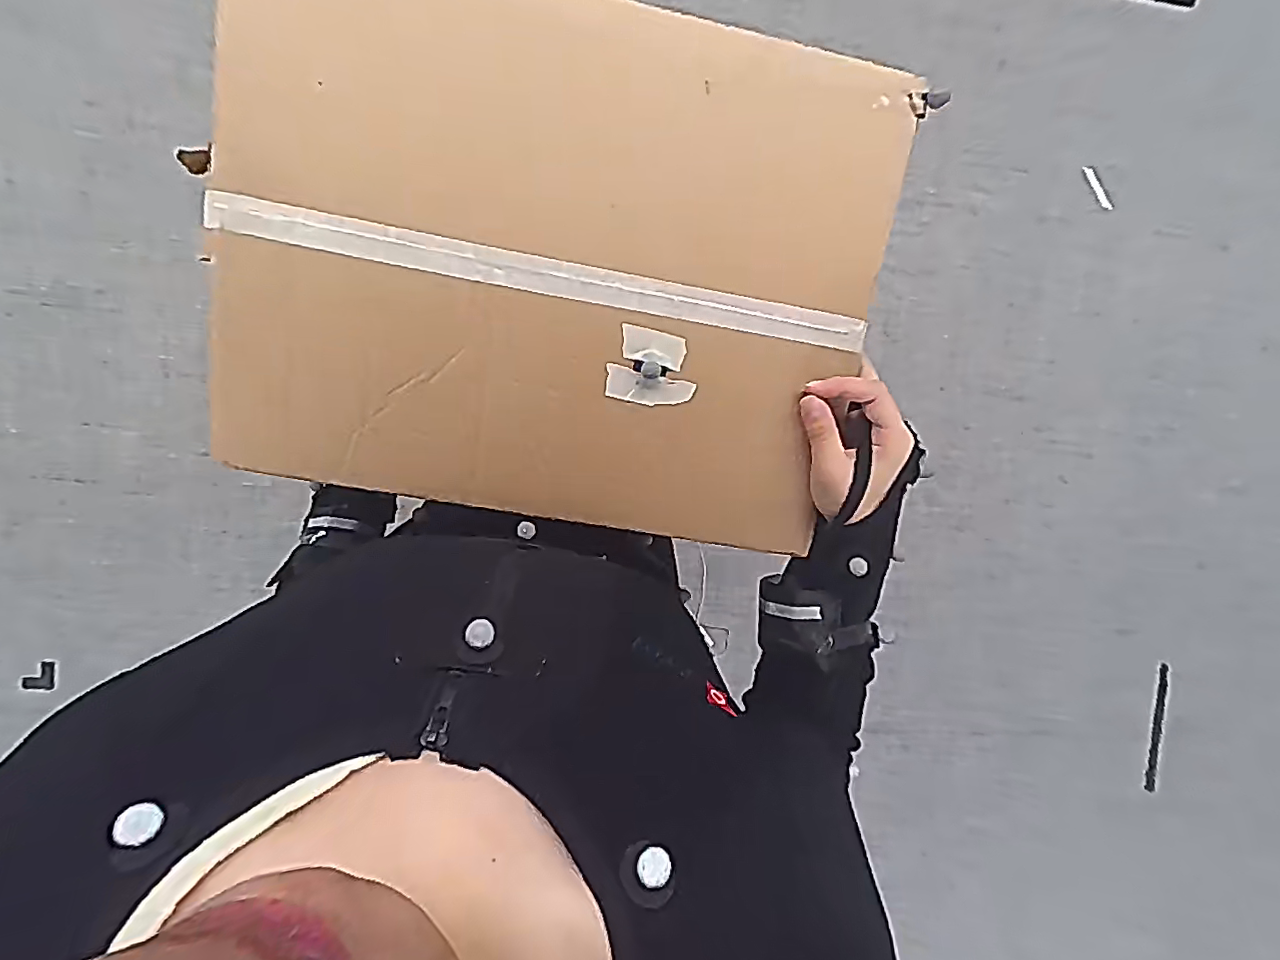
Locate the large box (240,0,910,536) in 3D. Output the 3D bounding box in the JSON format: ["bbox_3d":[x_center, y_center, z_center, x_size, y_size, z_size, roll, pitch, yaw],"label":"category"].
[{"bbox_3d":[-0.059,-0.162,0.494,0.408,0.320,0.320,9,102,-7],"label":"large box"}]
